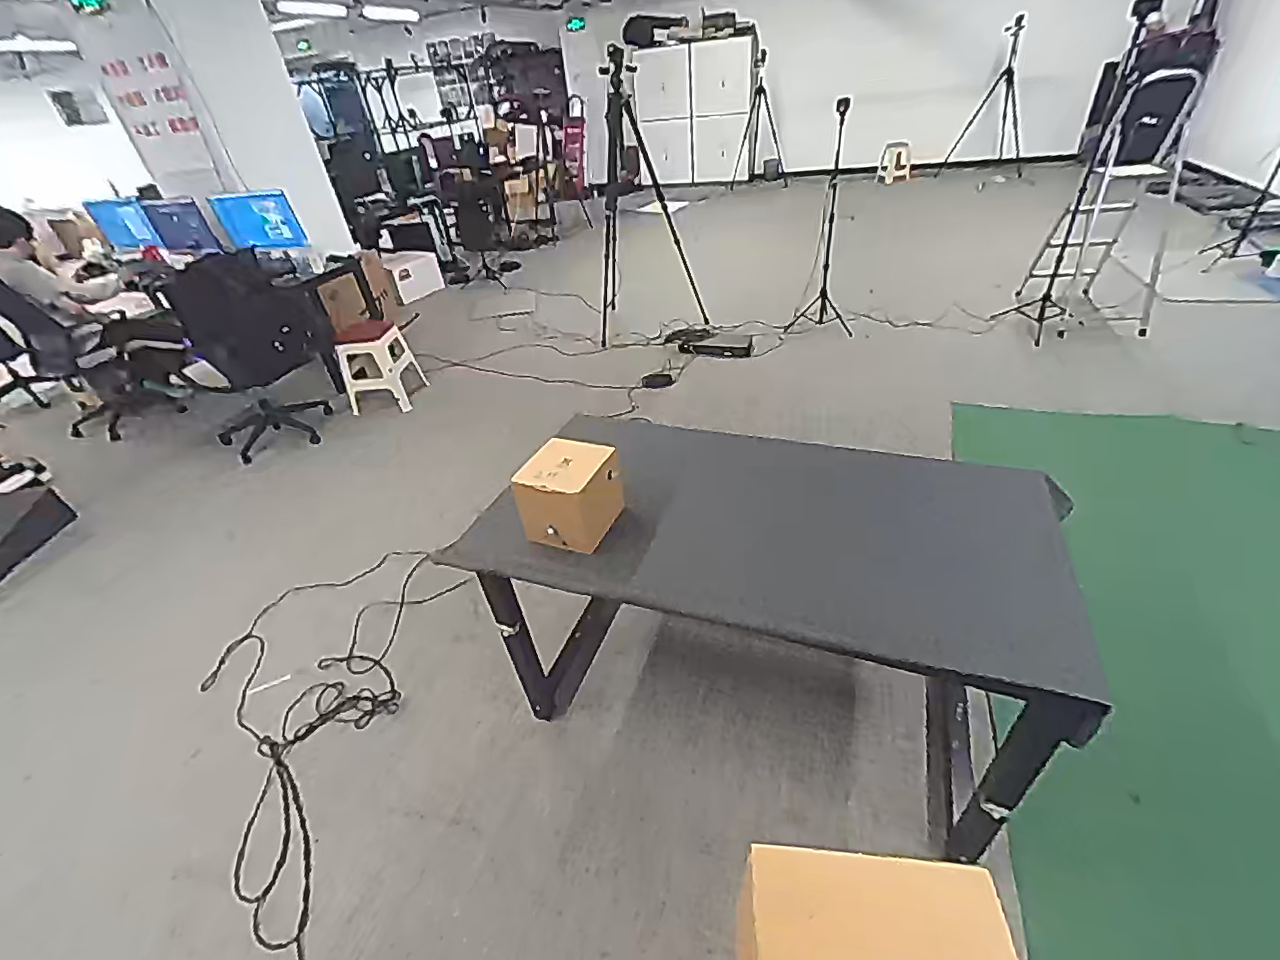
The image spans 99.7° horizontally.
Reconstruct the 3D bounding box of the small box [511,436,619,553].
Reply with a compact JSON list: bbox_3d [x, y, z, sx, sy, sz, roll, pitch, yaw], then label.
[{"bbox_3d":[-0.153,0.029,1.183,0.168,0.176,0.179,11,39,22],"label":"small box"}]

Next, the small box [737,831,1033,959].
[{"bbox_3d":[0.157,0.376,0.362,0.168,0.176,0.179,4,36,6],"label":"small box"}]
